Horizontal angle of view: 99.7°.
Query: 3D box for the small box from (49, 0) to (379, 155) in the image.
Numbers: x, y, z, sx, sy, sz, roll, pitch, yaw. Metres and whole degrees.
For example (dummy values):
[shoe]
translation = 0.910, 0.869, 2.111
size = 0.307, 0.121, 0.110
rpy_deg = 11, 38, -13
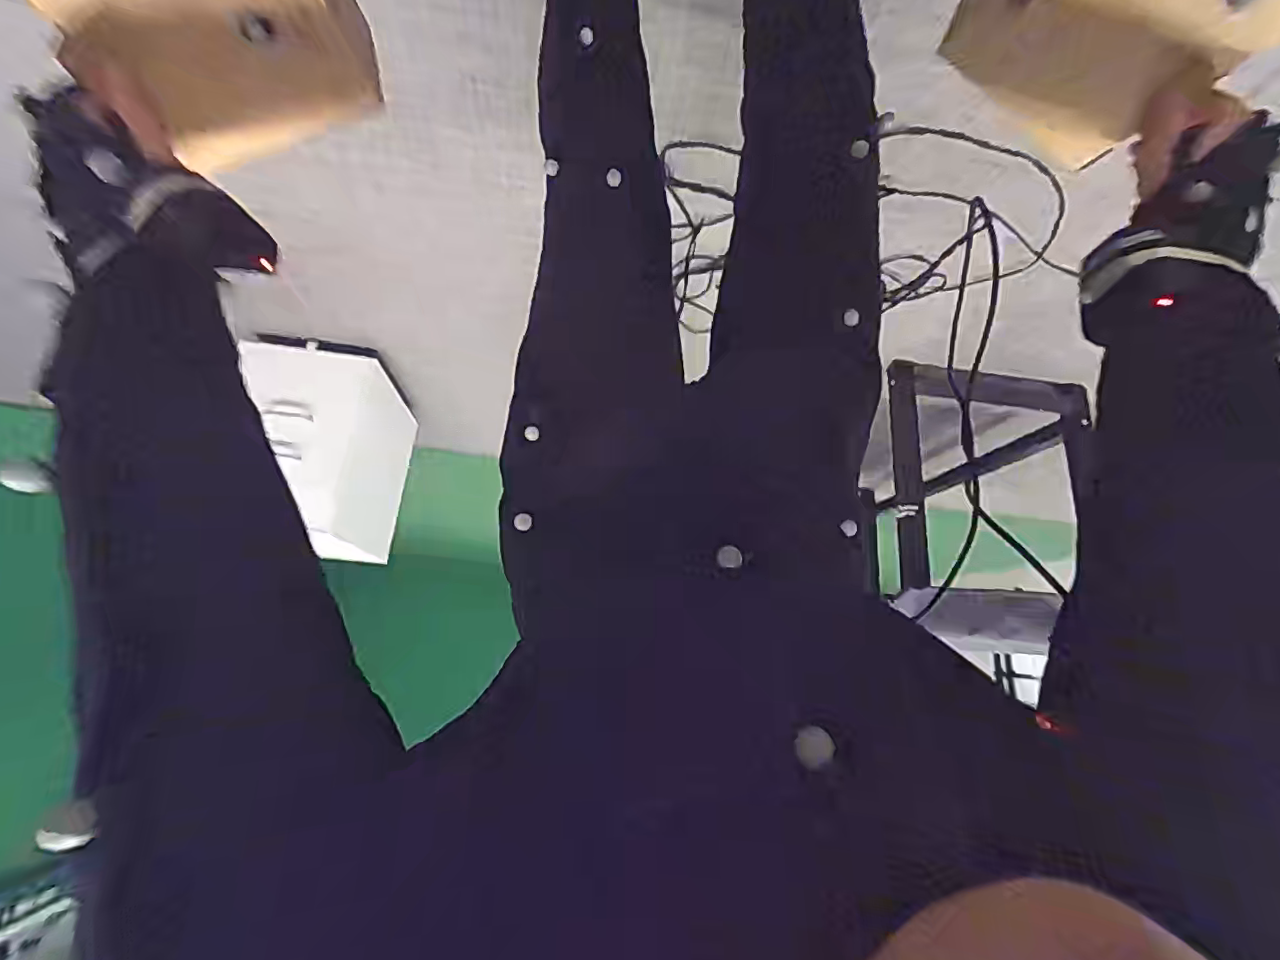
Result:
[small box]
translation = -0.319, -0.388, 0.401
size = 0.176, 0.179, 0.168
rpy_deg = -22, 149, -2
